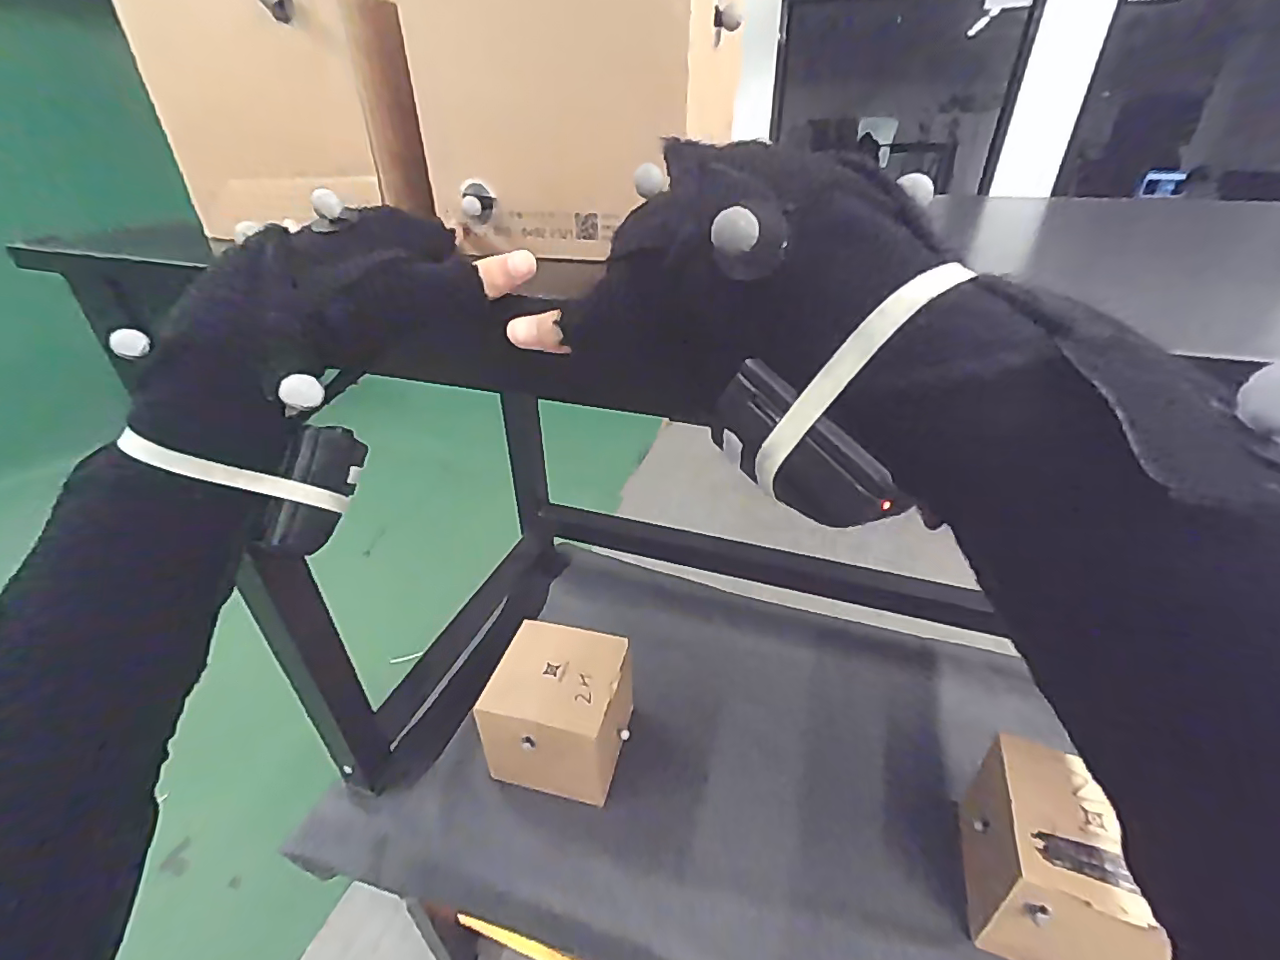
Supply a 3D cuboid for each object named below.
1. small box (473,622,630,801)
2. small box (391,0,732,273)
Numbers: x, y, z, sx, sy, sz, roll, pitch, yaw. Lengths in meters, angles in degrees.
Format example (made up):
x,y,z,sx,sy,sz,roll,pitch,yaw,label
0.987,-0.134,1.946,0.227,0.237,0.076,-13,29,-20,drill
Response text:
x,y,z,sx,sy,sz,roll,pitch,yaw,label
-0.120,0.343,0.807,0.179,0.176,0.168,8,34,12,small box
-0.033,-0.246,0.372,0.168,0.176,0.179,8,32,14,small box
